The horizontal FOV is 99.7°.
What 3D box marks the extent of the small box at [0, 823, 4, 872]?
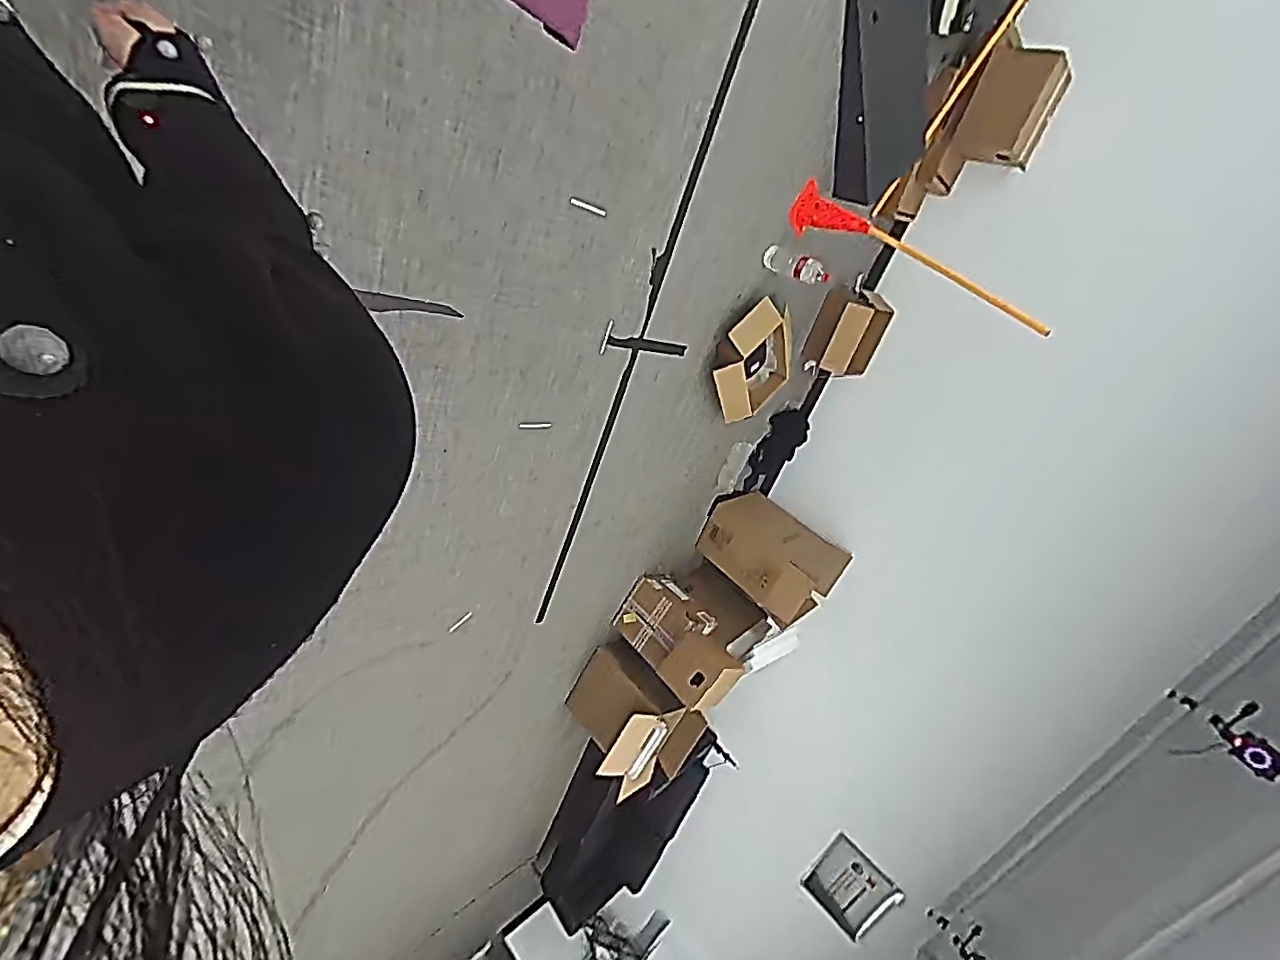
[{"bbox_3d":[-1.701,0.895,1.313,0.168,0.176,0.179,-20,136,-43],"label":"small box"}]
